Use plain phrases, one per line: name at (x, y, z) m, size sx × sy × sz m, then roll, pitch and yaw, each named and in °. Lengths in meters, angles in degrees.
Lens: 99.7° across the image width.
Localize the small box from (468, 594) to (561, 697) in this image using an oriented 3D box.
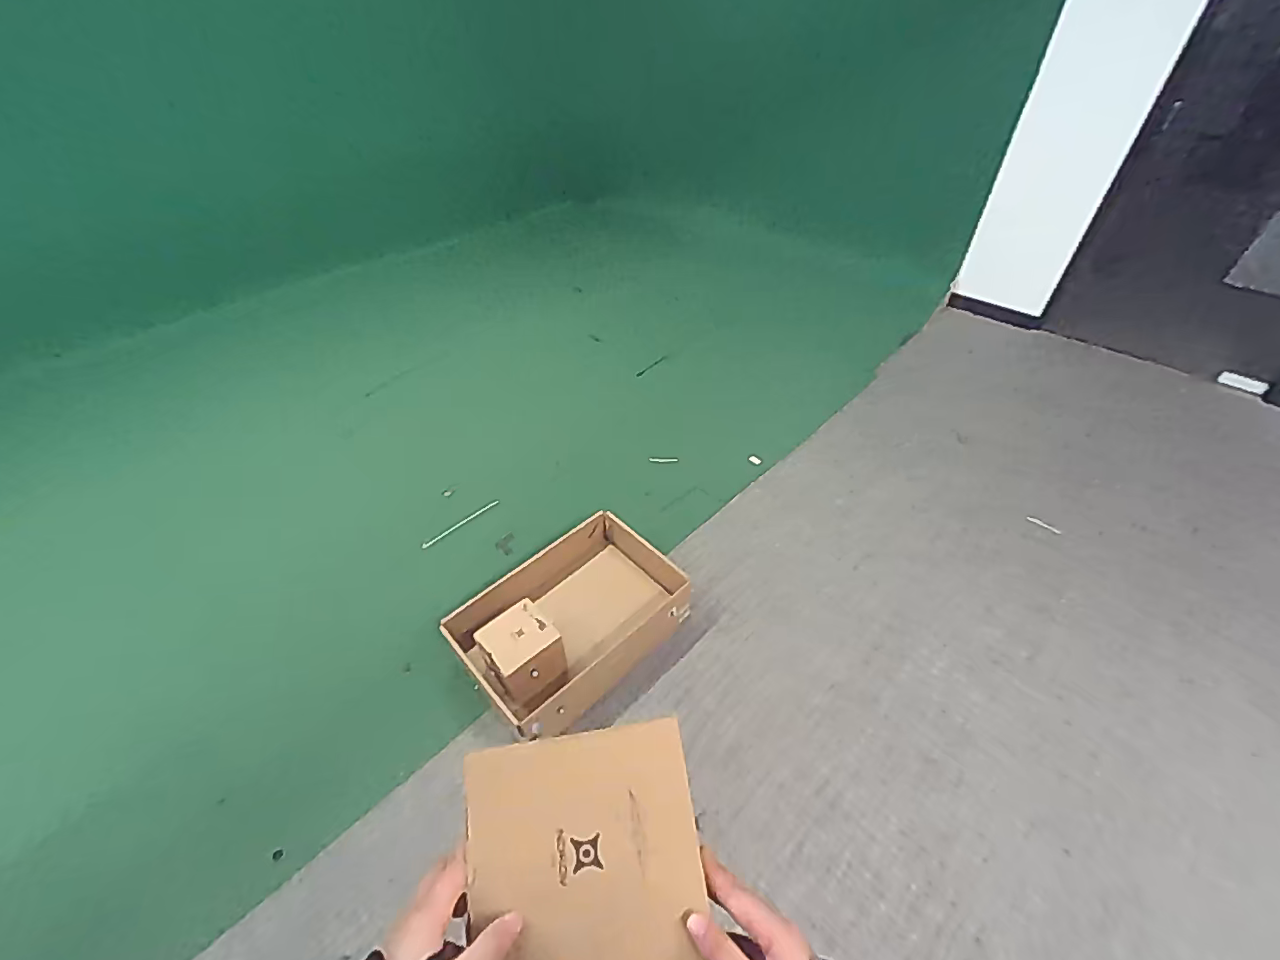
small box at (-0.336, 0.455, 1.478) m, size 0.179 × 0.176 × 0.168 m, roll -33°, pitch 54°, yaw -28°
